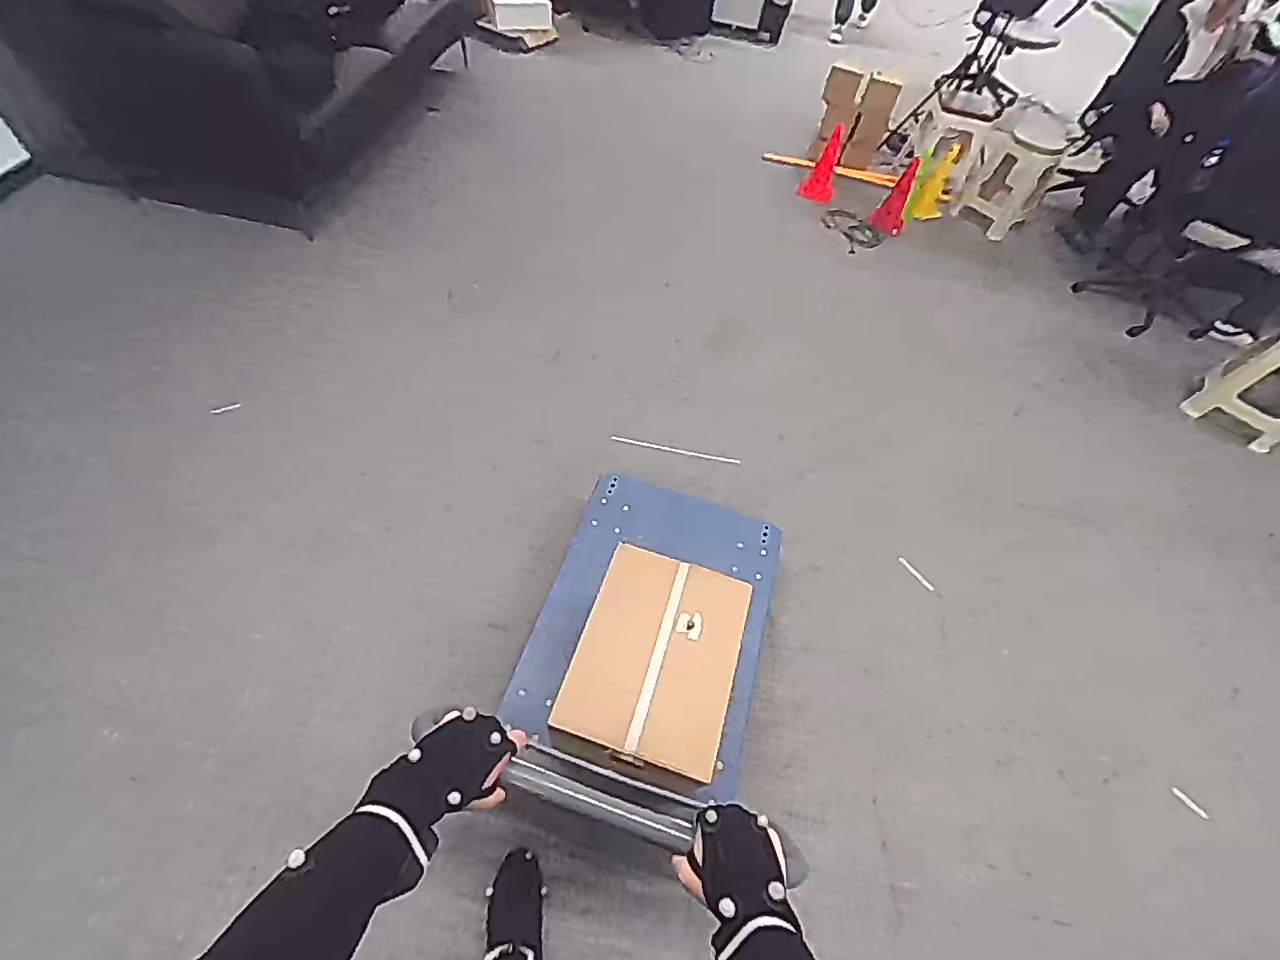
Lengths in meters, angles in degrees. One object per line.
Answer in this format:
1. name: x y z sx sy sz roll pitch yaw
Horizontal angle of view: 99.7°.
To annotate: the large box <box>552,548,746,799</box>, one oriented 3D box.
1. large box: 0.022 0.433 1.208 0.320 0.320 0.408 18 54 5
